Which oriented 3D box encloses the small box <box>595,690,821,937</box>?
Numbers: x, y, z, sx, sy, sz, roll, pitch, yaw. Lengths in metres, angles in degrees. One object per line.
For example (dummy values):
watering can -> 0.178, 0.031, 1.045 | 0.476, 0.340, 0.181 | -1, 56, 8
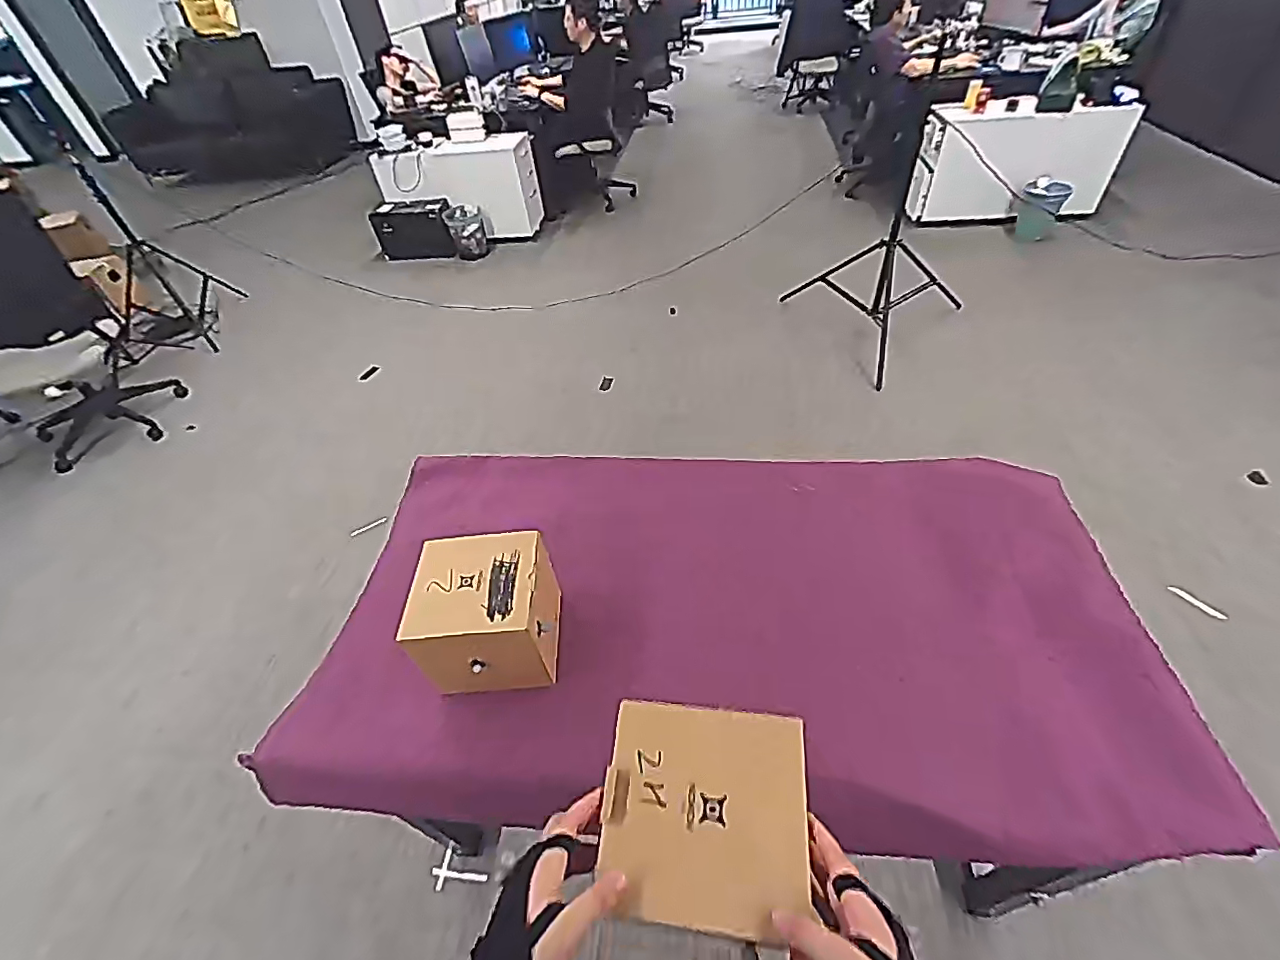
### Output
small box -> 0.070, 0.323, 0.526 | 0.179, 0.176, 0.168 | 1, 49, 11
